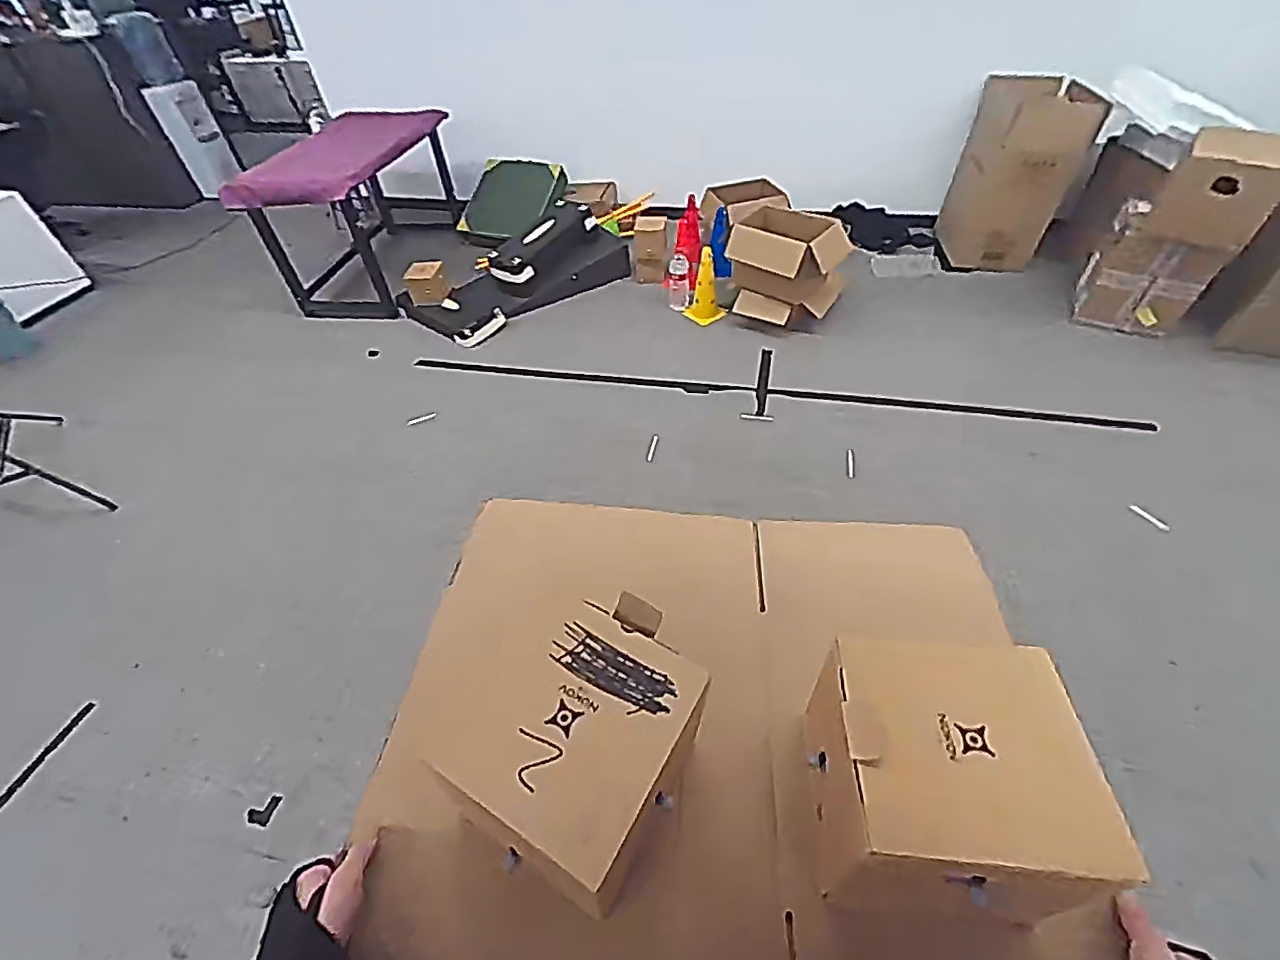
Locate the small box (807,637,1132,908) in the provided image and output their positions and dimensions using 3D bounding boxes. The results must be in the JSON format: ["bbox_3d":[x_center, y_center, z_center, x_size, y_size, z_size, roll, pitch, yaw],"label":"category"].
[{"bbox_3d":[0.259,0.260,0.482,0.179,0.176,0.168,1,44,7],"label":"small box"}]
